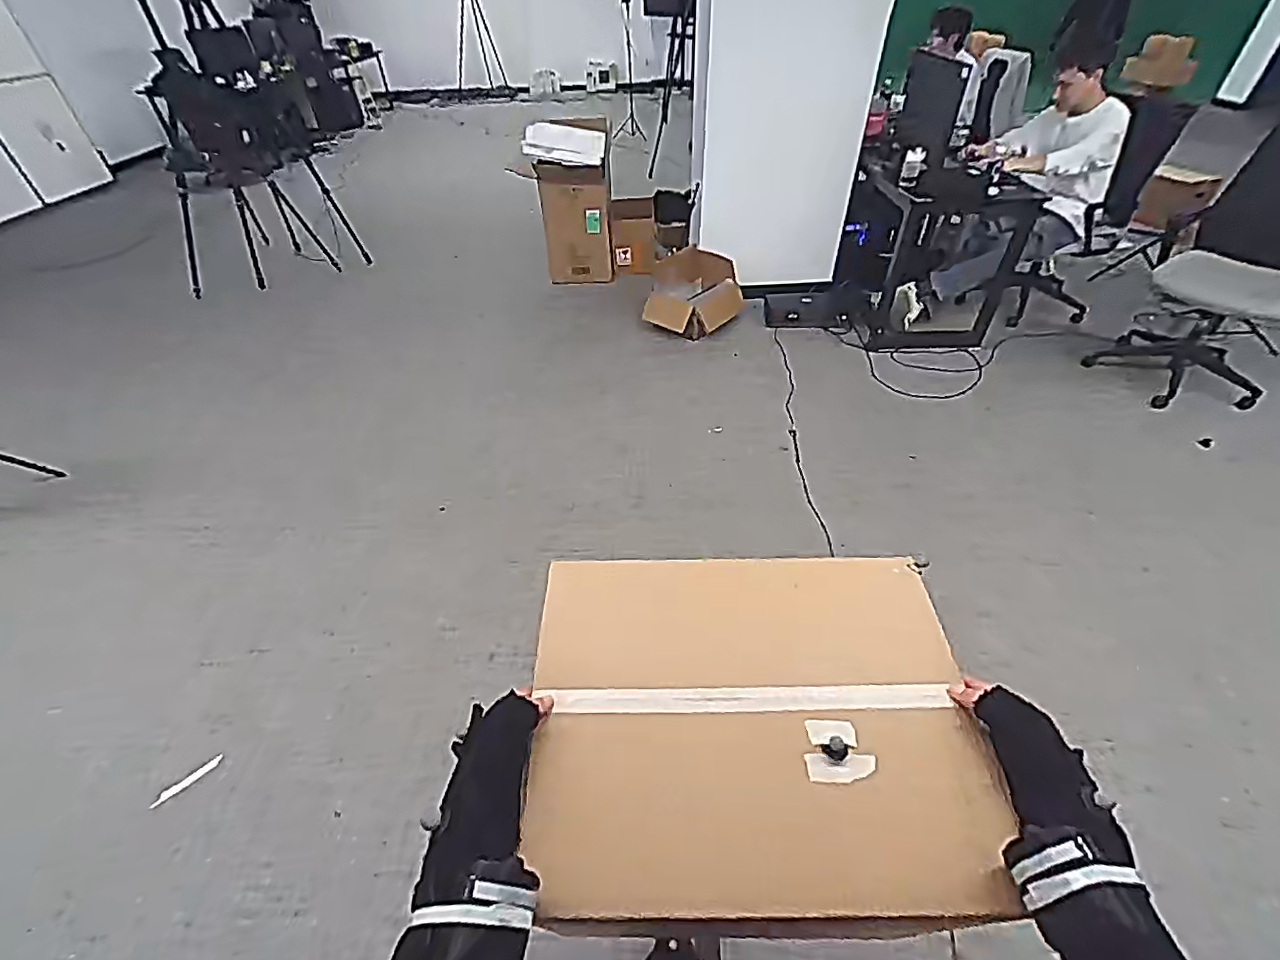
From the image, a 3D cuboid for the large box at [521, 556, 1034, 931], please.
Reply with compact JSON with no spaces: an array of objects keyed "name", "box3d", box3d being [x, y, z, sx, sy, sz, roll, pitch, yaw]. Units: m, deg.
[{"name":"large box","box3d":[0.104,0.303,0.620,0.408,0.320,0.320,0,48,0]}]
